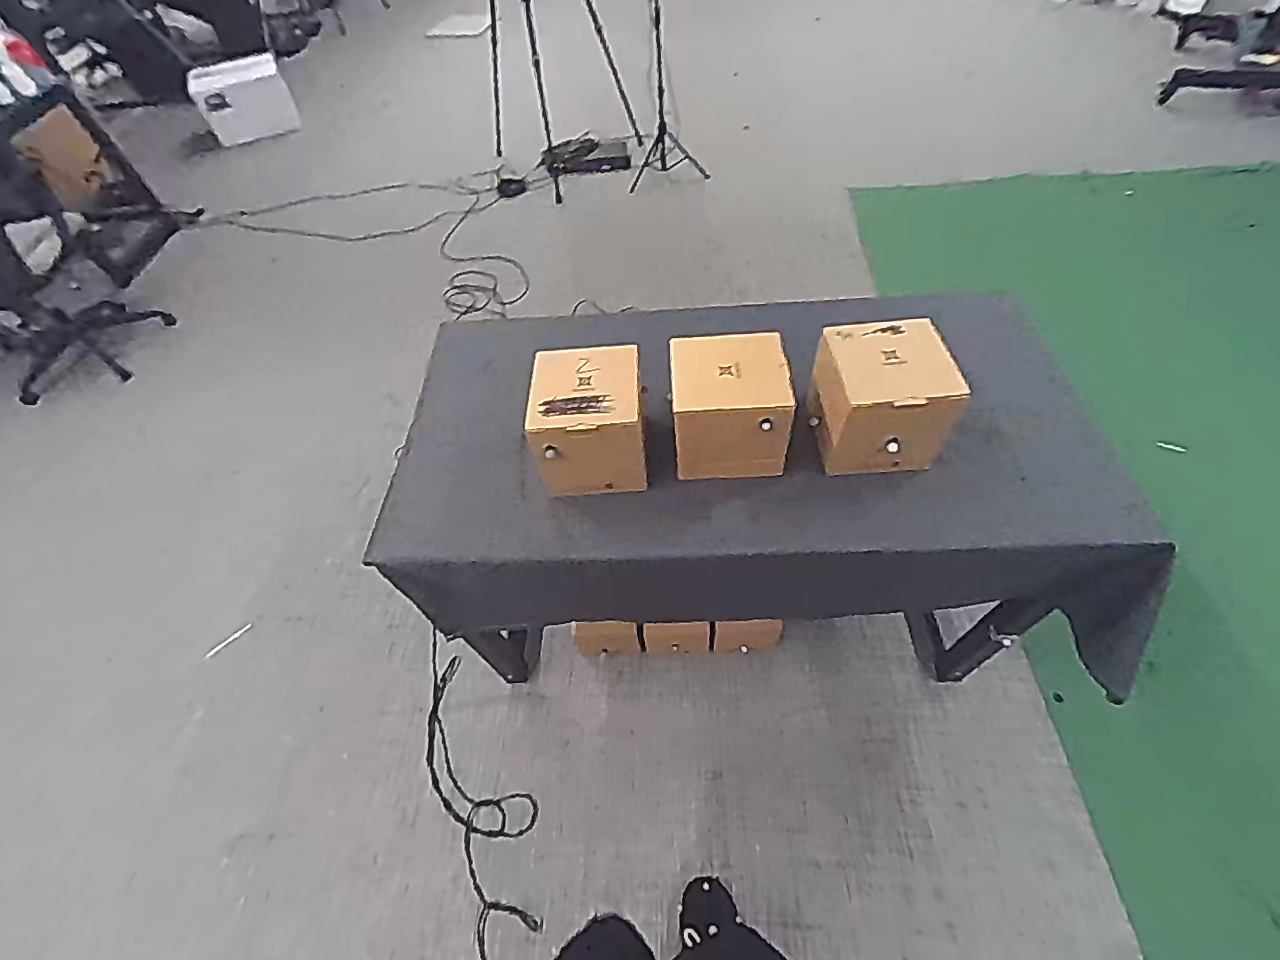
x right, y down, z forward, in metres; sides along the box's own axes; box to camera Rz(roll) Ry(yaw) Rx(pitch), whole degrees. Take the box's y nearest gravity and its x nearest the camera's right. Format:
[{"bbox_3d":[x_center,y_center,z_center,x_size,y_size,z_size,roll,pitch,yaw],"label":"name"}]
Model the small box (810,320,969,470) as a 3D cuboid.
[{"bbox_3d":[0.381,-0.127,0.862,0.168,0.176,0.179,-3,54,3],"label":"small box"}]
